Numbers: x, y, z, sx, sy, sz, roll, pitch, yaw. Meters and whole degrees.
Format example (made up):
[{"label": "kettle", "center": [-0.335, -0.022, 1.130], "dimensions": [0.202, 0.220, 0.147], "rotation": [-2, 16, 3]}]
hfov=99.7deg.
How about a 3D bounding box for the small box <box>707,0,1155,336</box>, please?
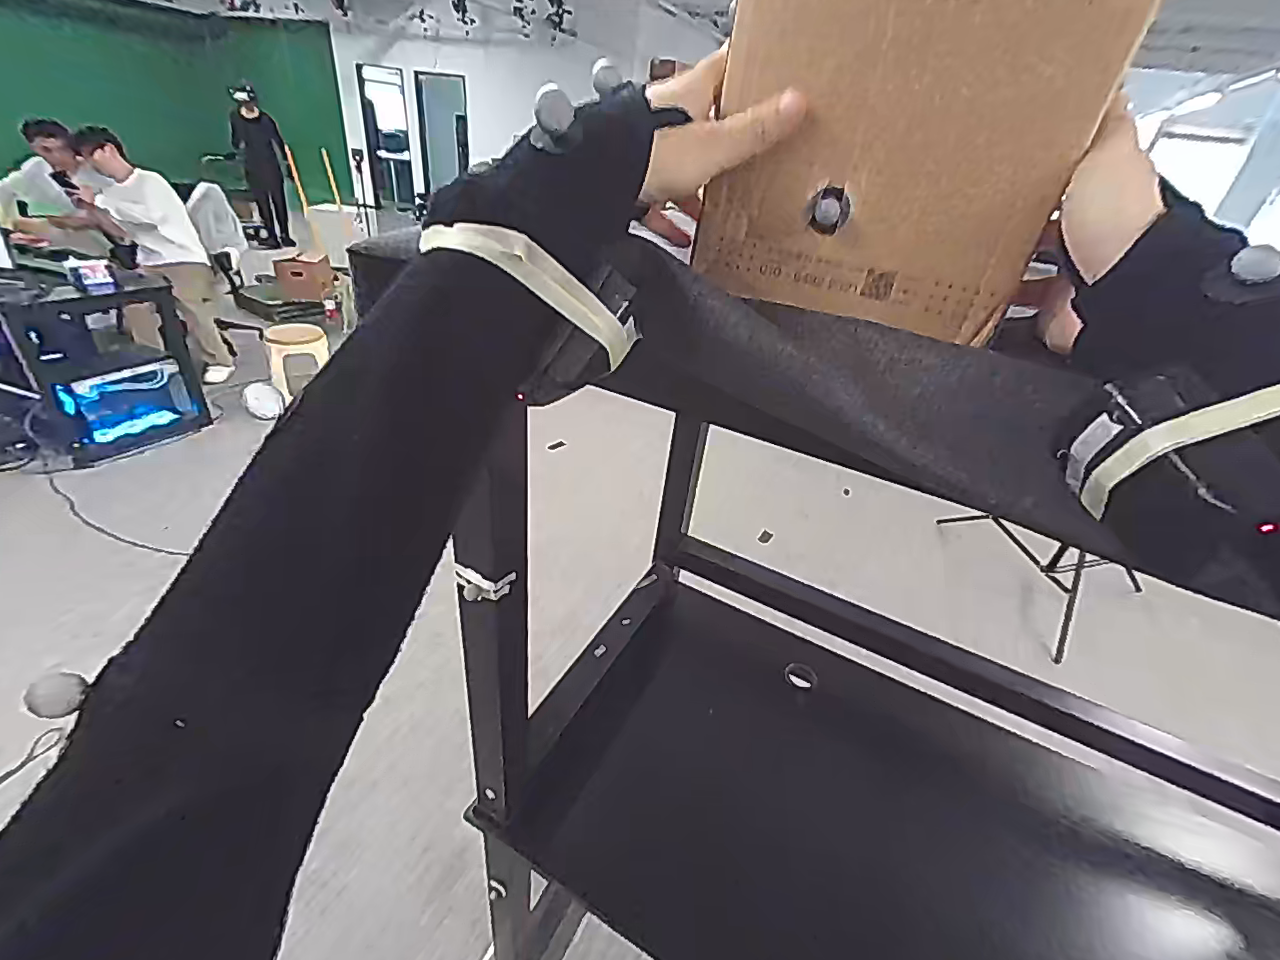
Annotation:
[{"label": "small box", "center": [0.150, -0.200, 0.326], "dimensions": [0.168, 0.176, 0.179], "rotation": [18, 31, 16]}]
